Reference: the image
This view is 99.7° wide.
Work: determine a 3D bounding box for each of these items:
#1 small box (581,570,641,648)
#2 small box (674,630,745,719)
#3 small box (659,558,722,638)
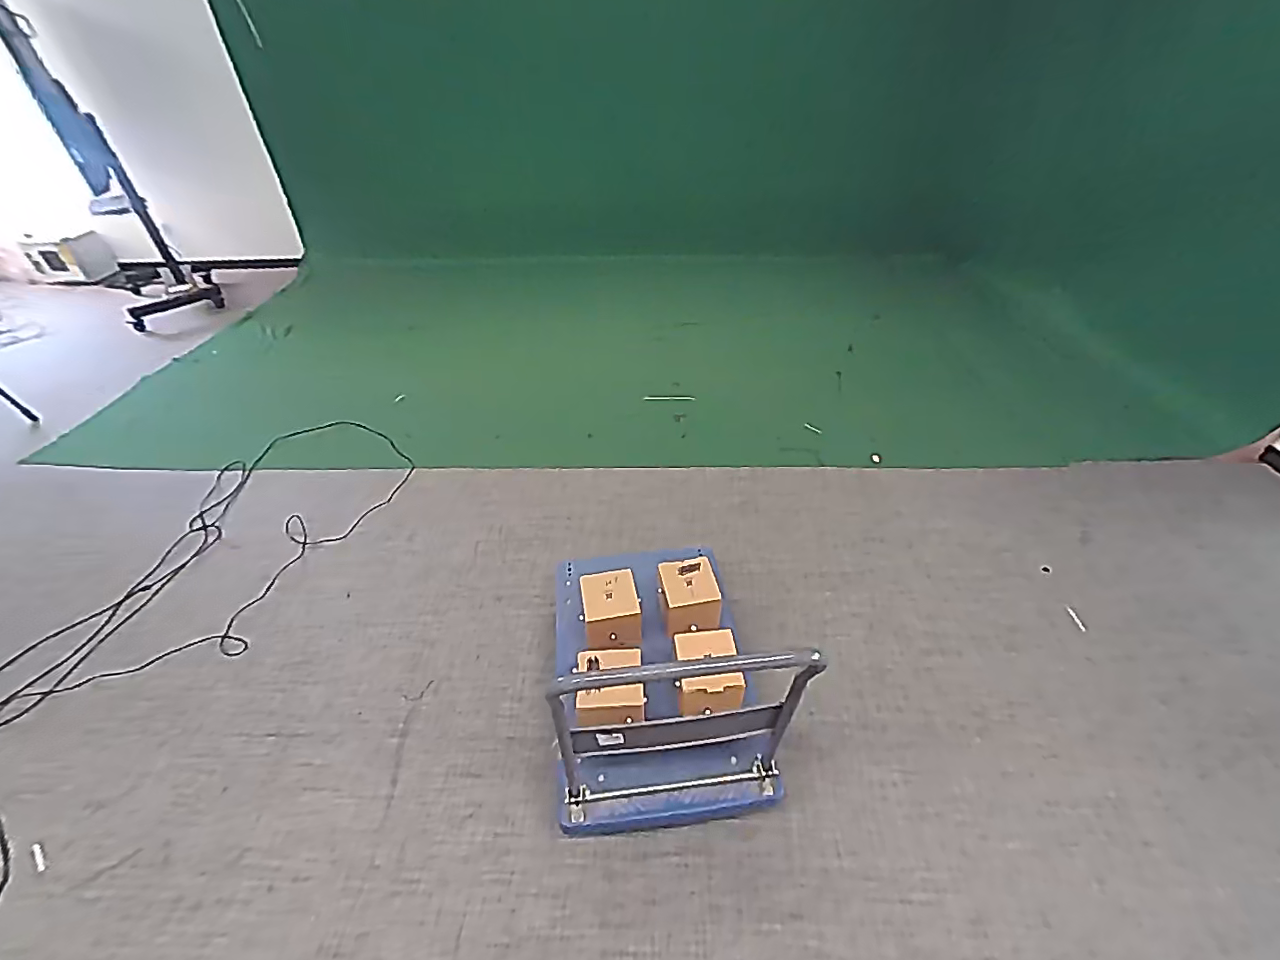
[{"bbox_3d":[-0.091,0.415,1.712,0.168,0.176,0.179,-7,40,-8],"label":"small box"},{"bbox_3d":[0.190,0.553,1.540,0.168,0.176,0.179,-5,41,-4],"label":"small box"},{"bbox_3d":[0.156,0.380,1.745,0.168,0.176,0.179,-8,41,-7],"label":"small box"}]
